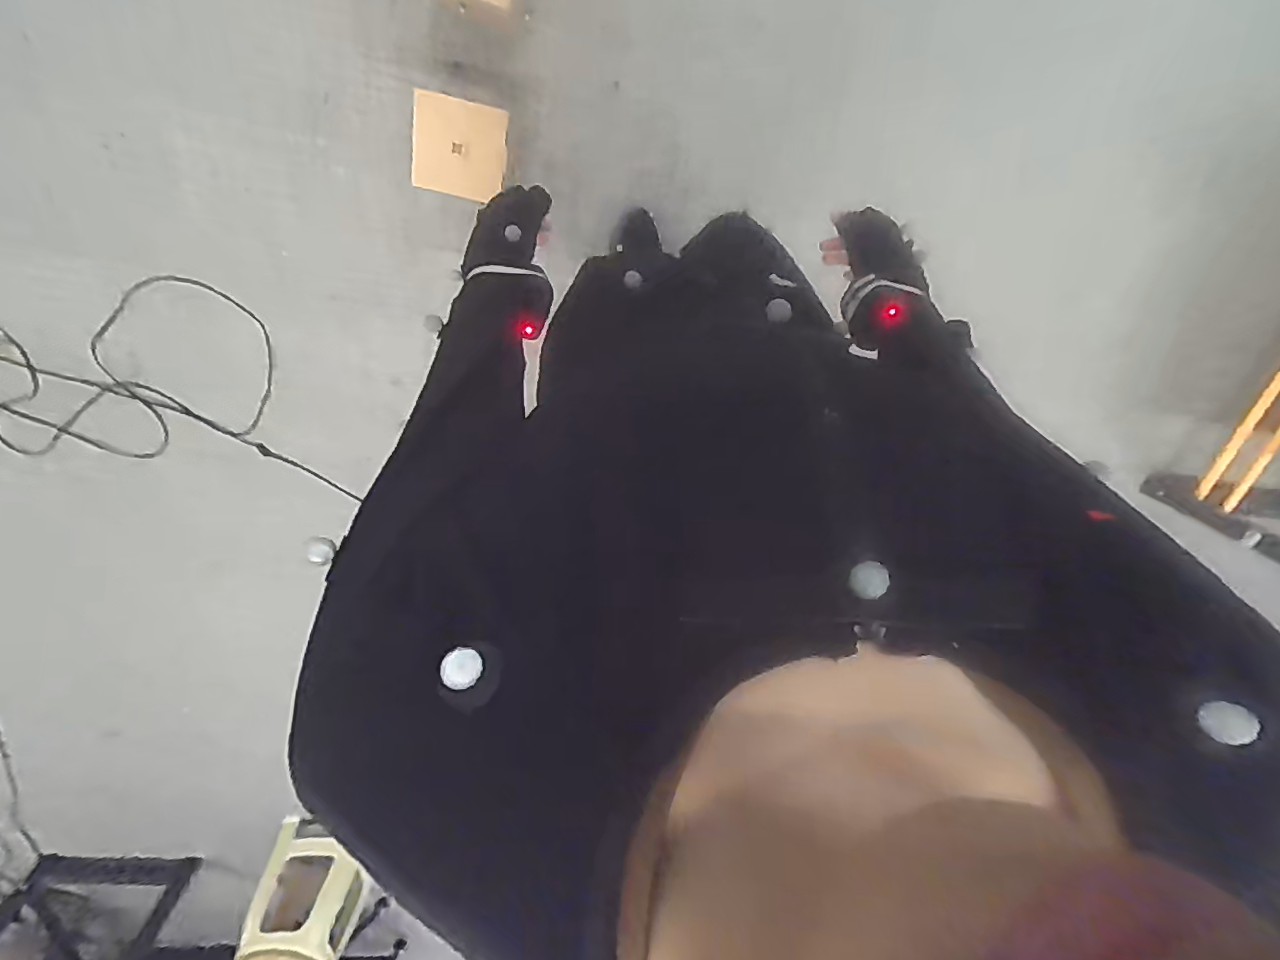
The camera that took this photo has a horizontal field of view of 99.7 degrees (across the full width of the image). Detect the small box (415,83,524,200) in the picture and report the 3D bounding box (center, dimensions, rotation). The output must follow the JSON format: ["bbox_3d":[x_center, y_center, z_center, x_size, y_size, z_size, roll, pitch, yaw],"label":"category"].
[{"bbox_3d":[-0.344,-0.680,1.108,0.179,0.176,0.168,9,116,-8],"label":"small box"}]

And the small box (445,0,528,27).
[{"bbox_3d":[-0.287,-0.958,0.971,0.179,0.176,0.168,15,114,-10],"label":"small box"}]
